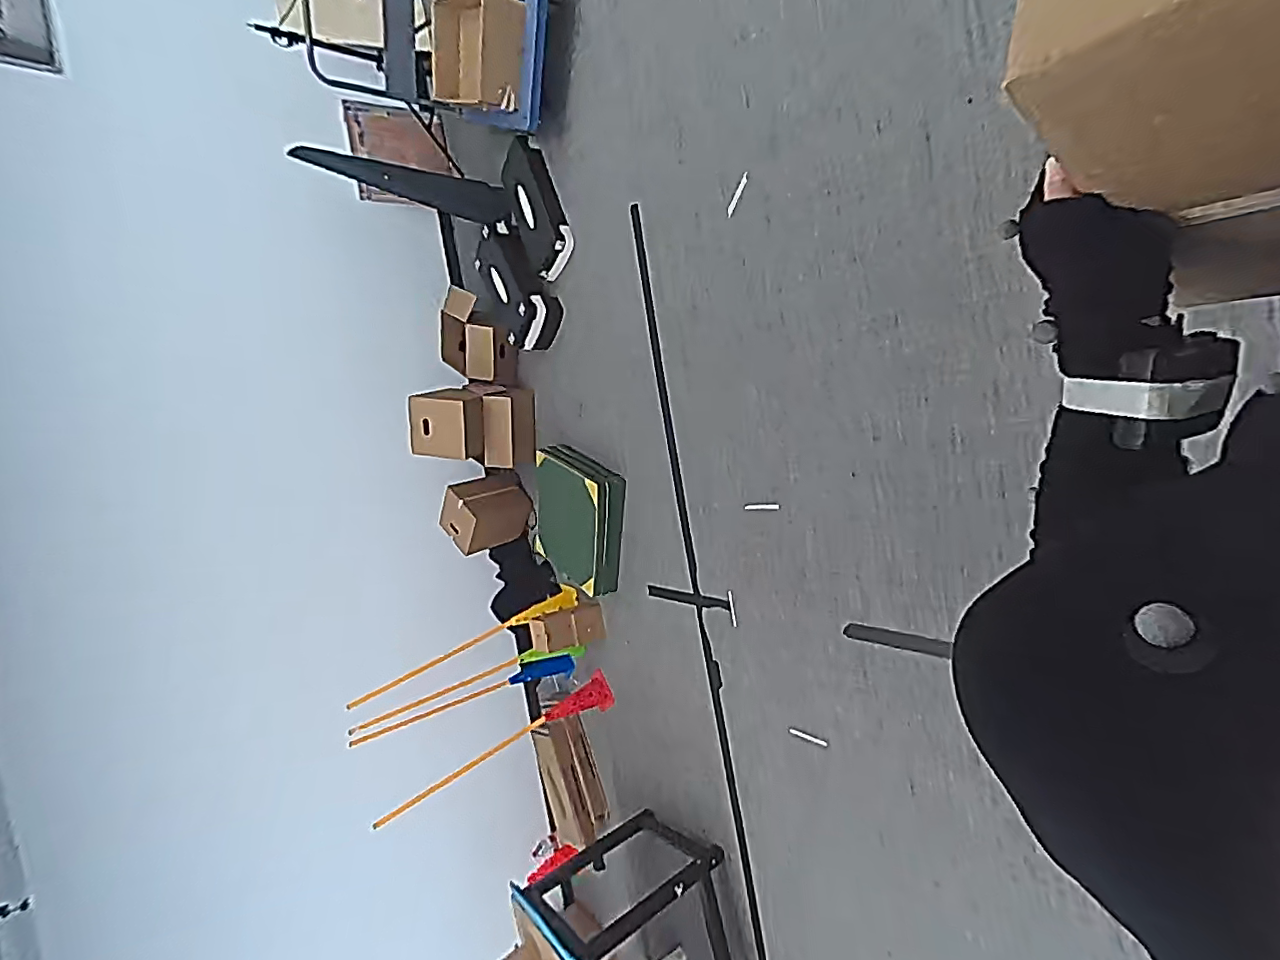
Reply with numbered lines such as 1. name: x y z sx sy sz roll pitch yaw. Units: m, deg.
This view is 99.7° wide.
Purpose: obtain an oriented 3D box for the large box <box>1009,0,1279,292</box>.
1. large box: 0.415 -0.293 0.162 0.408 0.320 0.320 9 91 55
